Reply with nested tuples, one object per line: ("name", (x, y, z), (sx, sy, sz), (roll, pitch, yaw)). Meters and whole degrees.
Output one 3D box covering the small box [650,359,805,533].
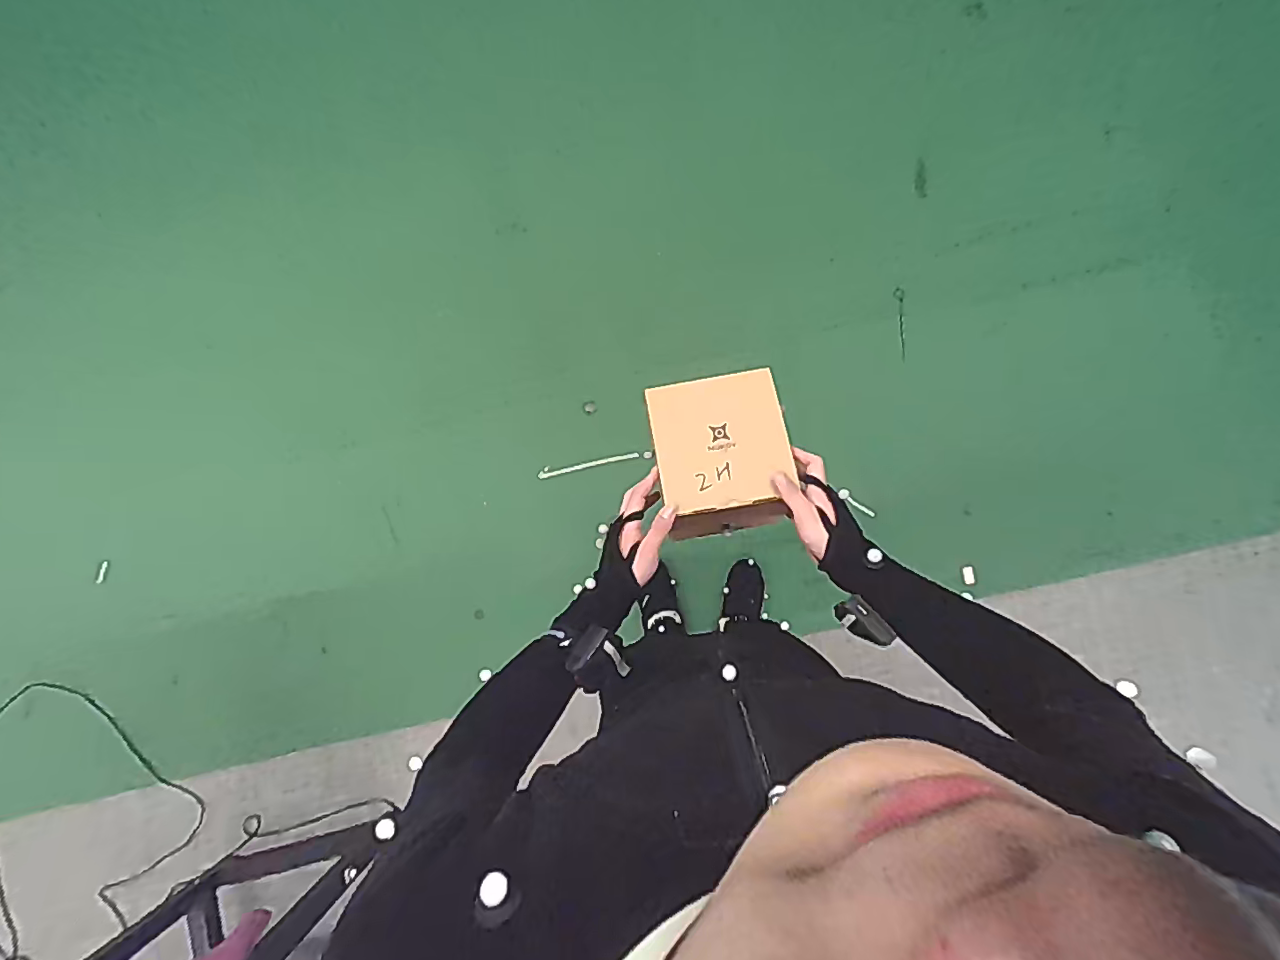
("small box", (0.106, -0.037, 0.734), (0.168, 0.176, 0.179), (-9, 74, 1))
